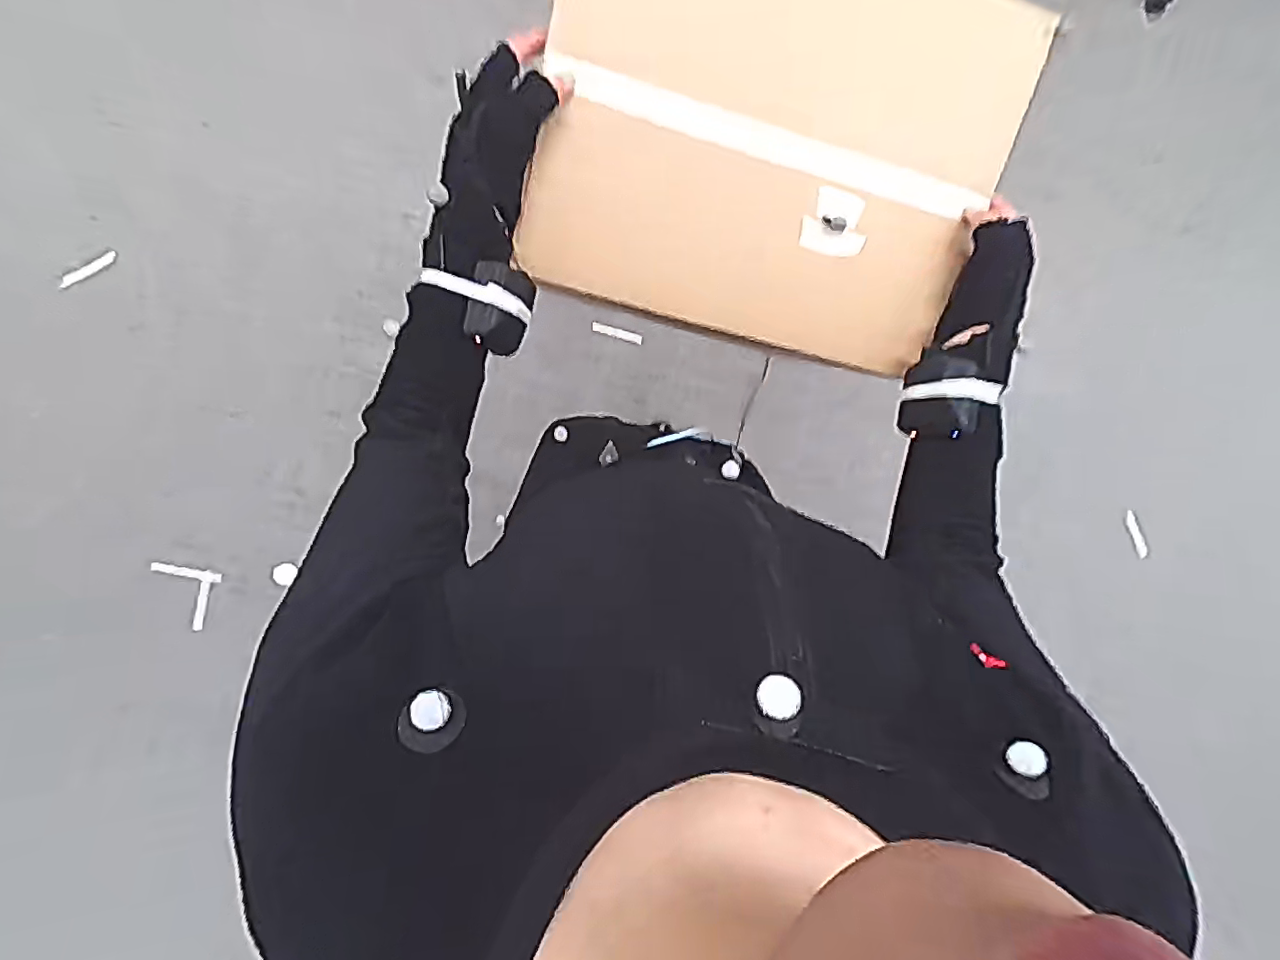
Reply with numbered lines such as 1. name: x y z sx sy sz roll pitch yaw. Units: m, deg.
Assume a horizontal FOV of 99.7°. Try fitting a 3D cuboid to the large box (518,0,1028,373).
1. large box: 0.097 -0.330 0.619 0.408 0.320 0.320 12 106 -10
